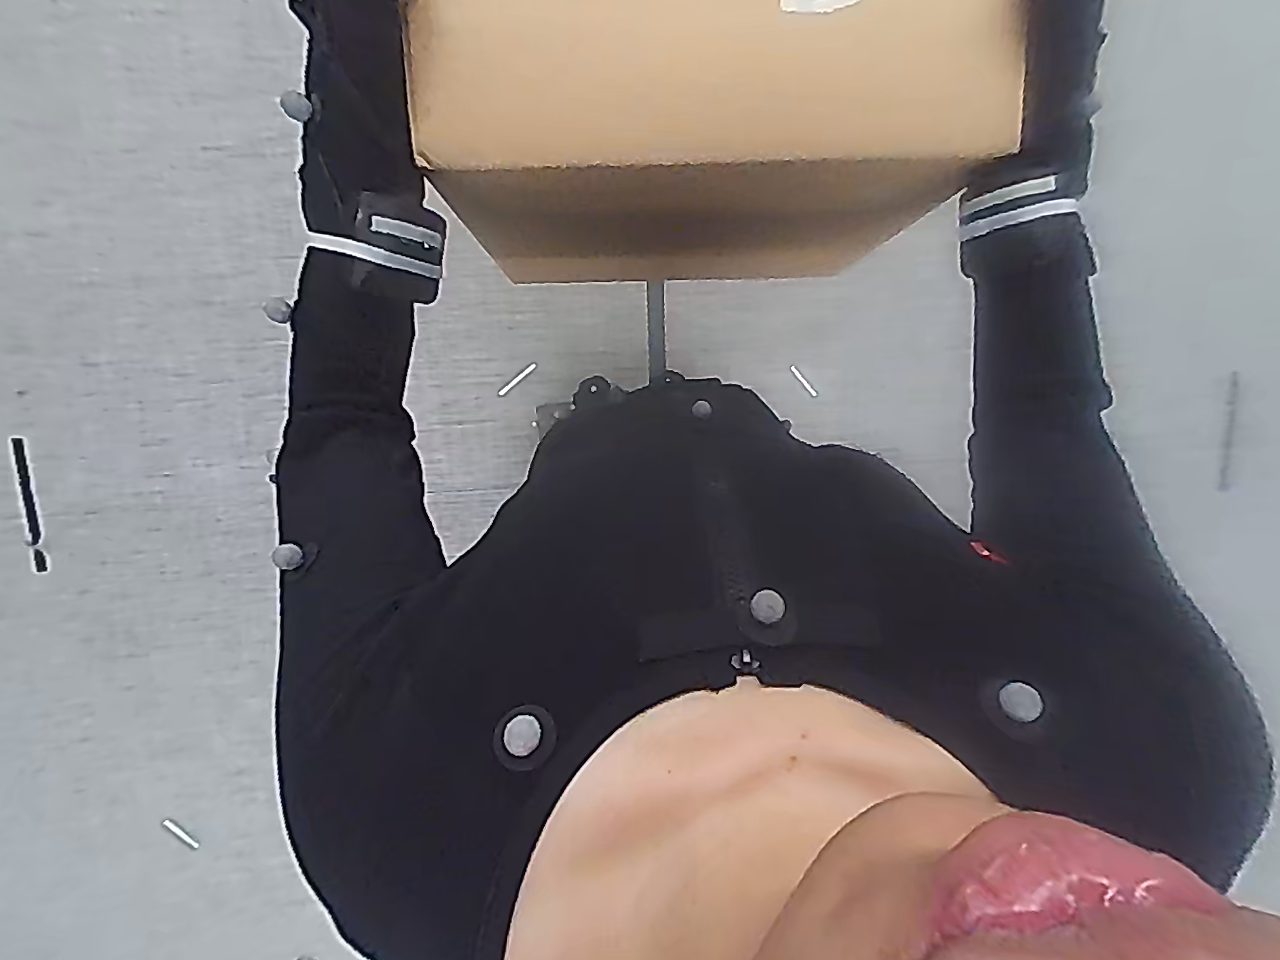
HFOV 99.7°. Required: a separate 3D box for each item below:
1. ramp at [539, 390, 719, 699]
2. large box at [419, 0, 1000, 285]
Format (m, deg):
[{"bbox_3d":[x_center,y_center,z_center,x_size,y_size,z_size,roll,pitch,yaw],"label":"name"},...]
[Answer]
[{"bbox_3d":[-0.005,0.235,1.622,0.509,0.206,0.991,-5,100,-3],"label":"ramp"},{"bbox_3d":[0.041,-0.387,0.509,0.408,0.320,0.320,-3,96,-2],"label":"large box"}]
